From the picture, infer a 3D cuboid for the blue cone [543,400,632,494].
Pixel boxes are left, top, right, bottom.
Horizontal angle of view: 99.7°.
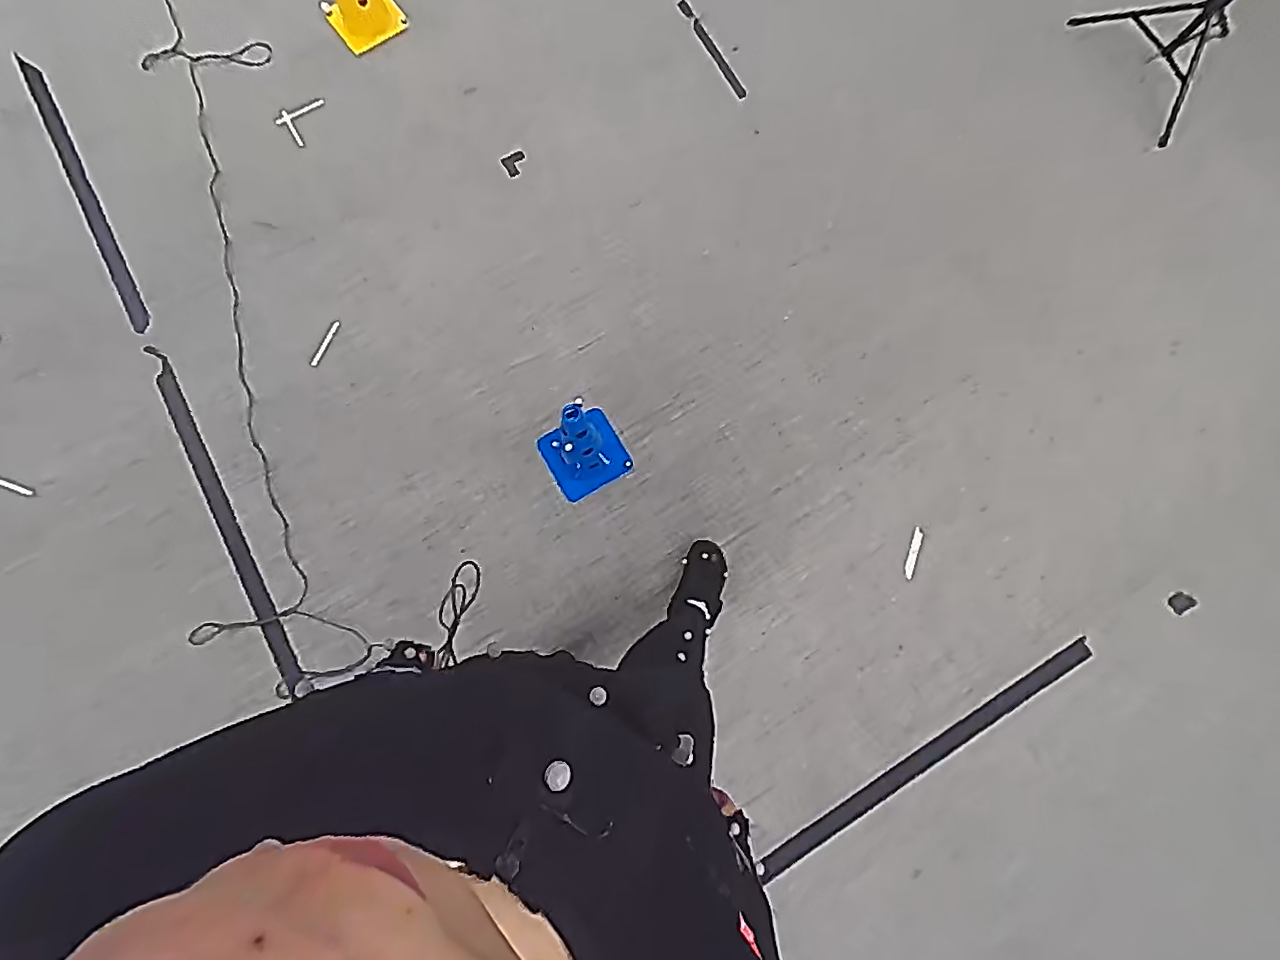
[{"bbox_3d":[-0.135,-0.104,1.250,0.192,0.380,0.193,-28,81,-7],"label":"blue cone"}]
